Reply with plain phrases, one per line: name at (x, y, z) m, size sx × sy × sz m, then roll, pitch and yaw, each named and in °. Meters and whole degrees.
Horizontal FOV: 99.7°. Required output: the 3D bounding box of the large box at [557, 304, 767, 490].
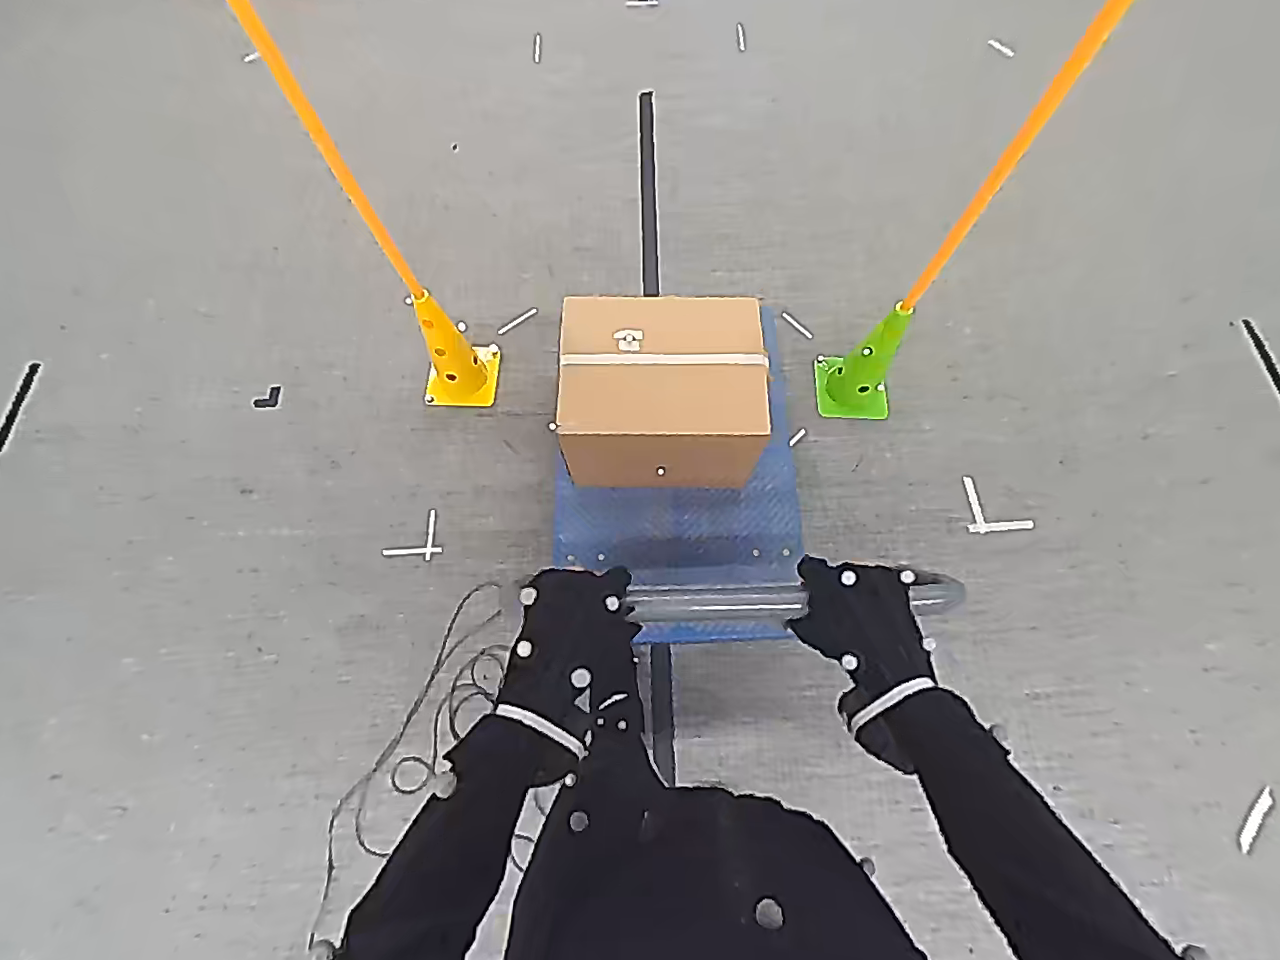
large box at (0.044, -0.168, 1.207) m, size 0.408 × 0.320 × 0.320 m, roll 0°, pitch 70°, yaw 1°

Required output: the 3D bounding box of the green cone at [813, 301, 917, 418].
green cone at (0.615, -0.334, 1.420) m, size 0.202 × 0.368 × 0.200 m, roll 3°, pitch 69°, yaw 0°
